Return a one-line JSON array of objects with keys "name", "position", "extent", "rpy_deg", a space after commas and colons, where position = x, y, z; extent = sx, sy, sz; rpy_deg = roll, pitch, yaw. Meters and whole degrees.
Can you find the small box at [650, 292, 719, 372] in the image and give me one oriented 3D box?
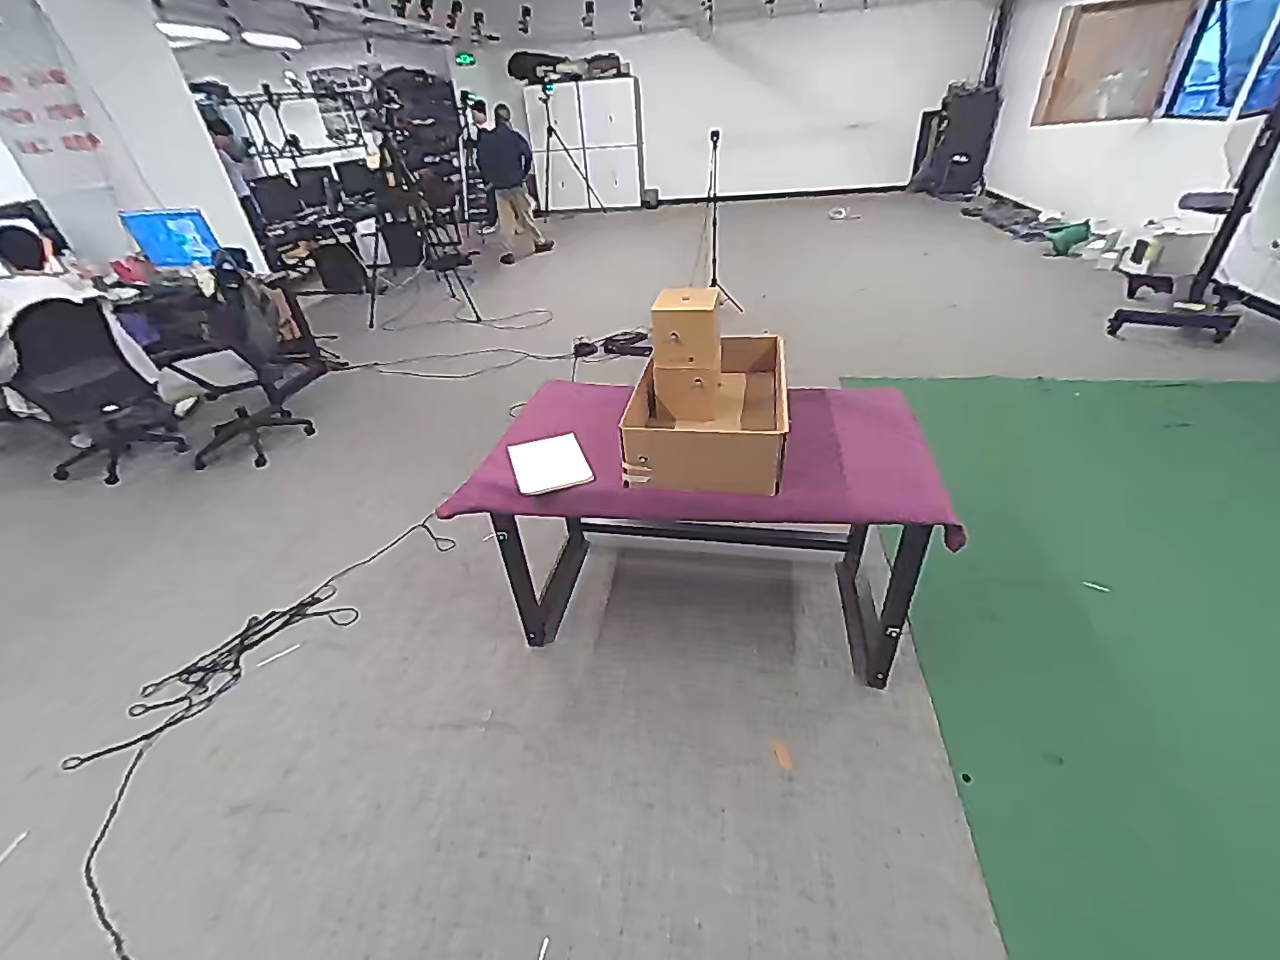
[{"name": "small box", "position": [0.131, -0.412, 1.509], "extent": [0.168, 0.176, 0.179], "rpy_deg": [4, 37, 13]}]
